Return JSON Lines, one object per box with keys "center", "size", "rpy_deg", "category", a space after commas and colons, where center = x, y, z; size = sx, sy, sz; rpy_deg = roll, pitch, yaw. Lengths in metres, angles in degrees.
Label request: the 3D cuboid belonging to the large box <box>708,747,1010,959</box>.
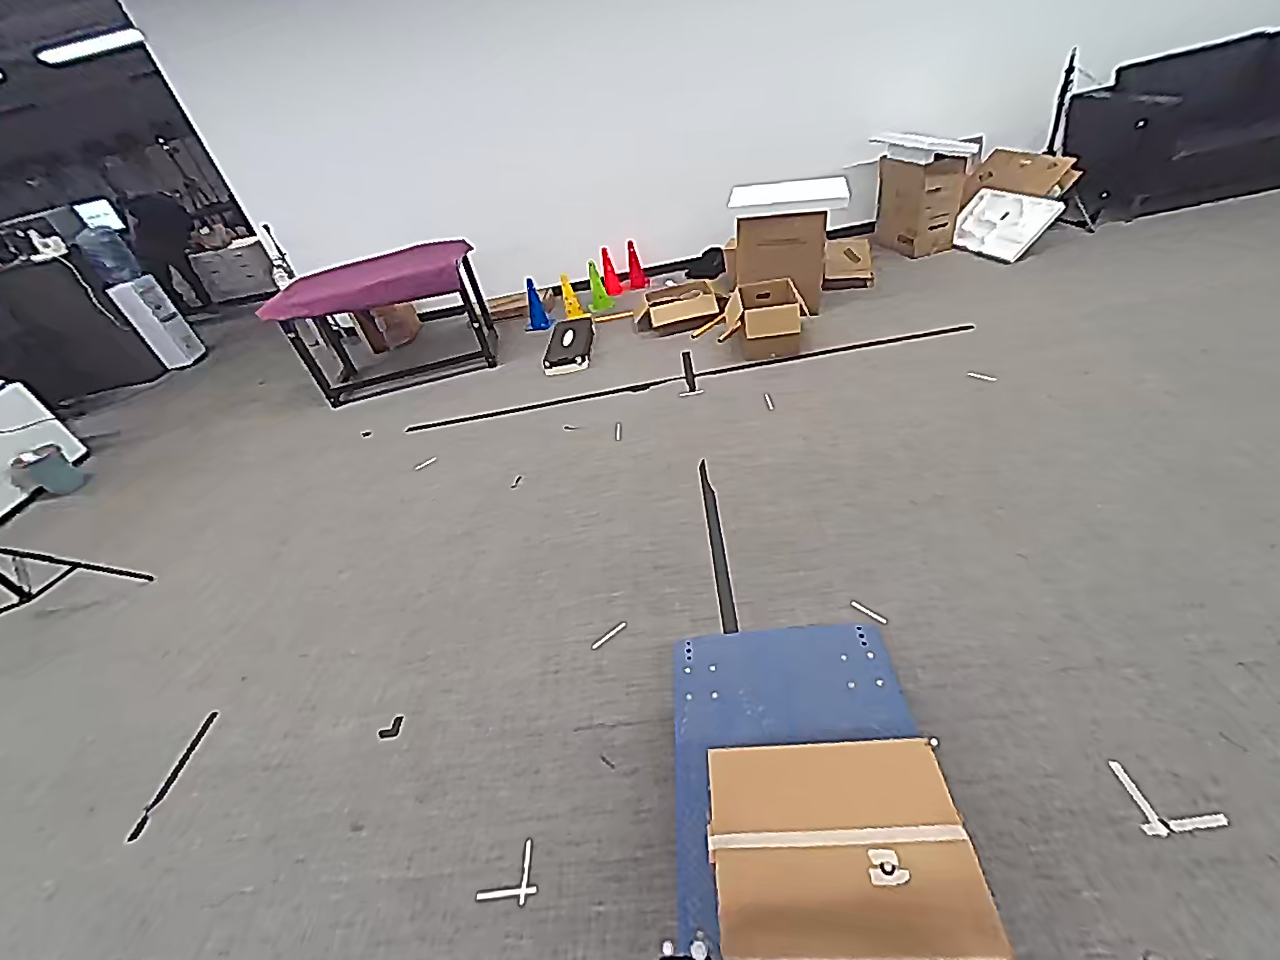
{"center": [0.344, 0.718, 0.972], "size": [0.408, 0.320, 0.320], "rpy_deg": [-6, 39, 7], "category": "large box"}
